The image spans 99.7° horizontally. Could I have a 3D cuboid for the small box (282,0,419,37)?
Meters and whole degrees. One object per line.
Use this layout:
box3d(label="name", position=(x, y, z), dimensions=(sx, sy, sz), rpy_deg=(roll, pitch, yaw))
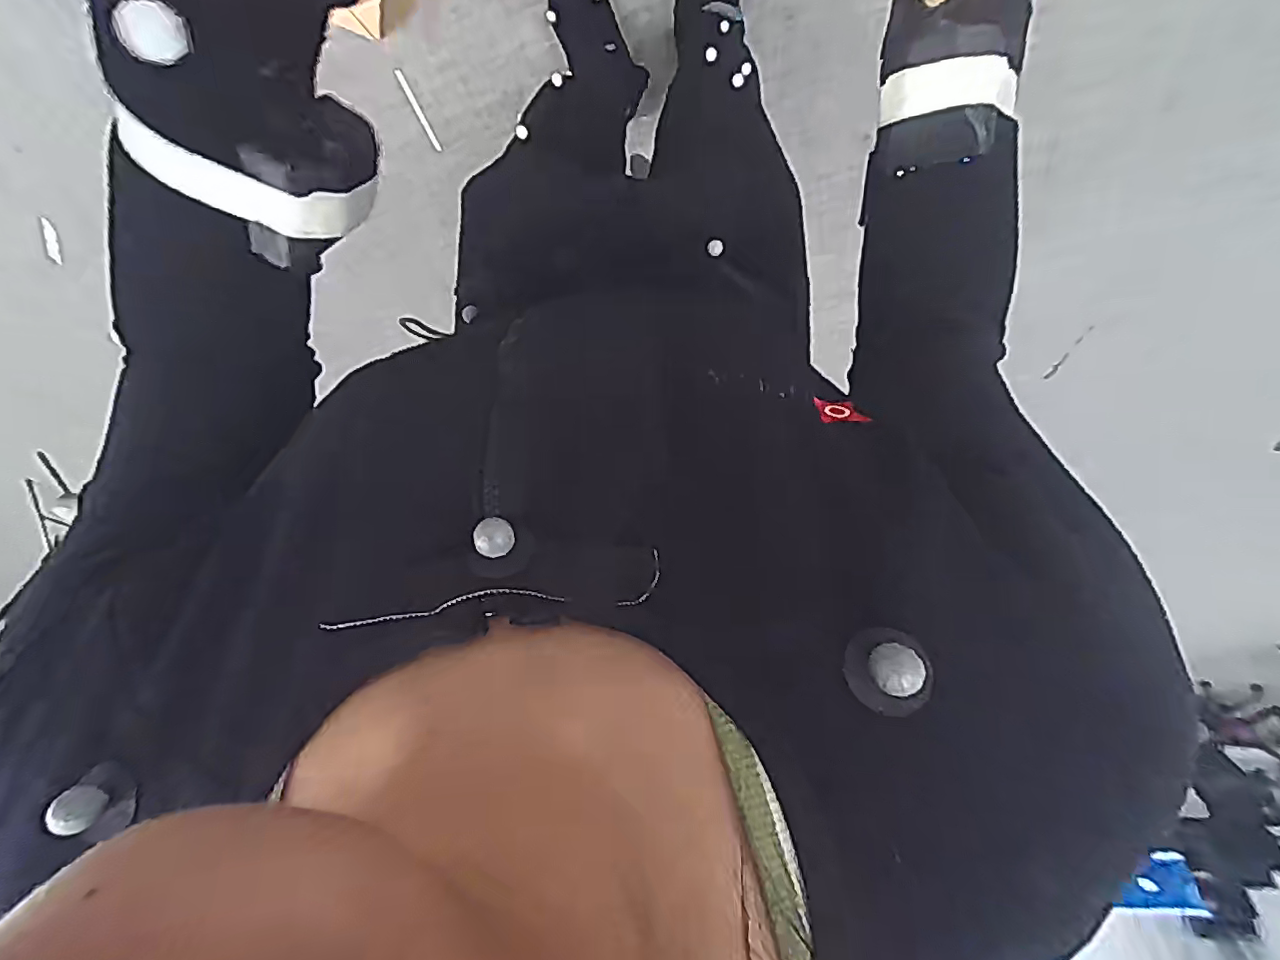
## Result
box3d(label="small box", position=(-0.419, -0.759, 0.747), dimensions=(0.179, 0.176, 0.168), rpy_deg=(15, 140, -14))
